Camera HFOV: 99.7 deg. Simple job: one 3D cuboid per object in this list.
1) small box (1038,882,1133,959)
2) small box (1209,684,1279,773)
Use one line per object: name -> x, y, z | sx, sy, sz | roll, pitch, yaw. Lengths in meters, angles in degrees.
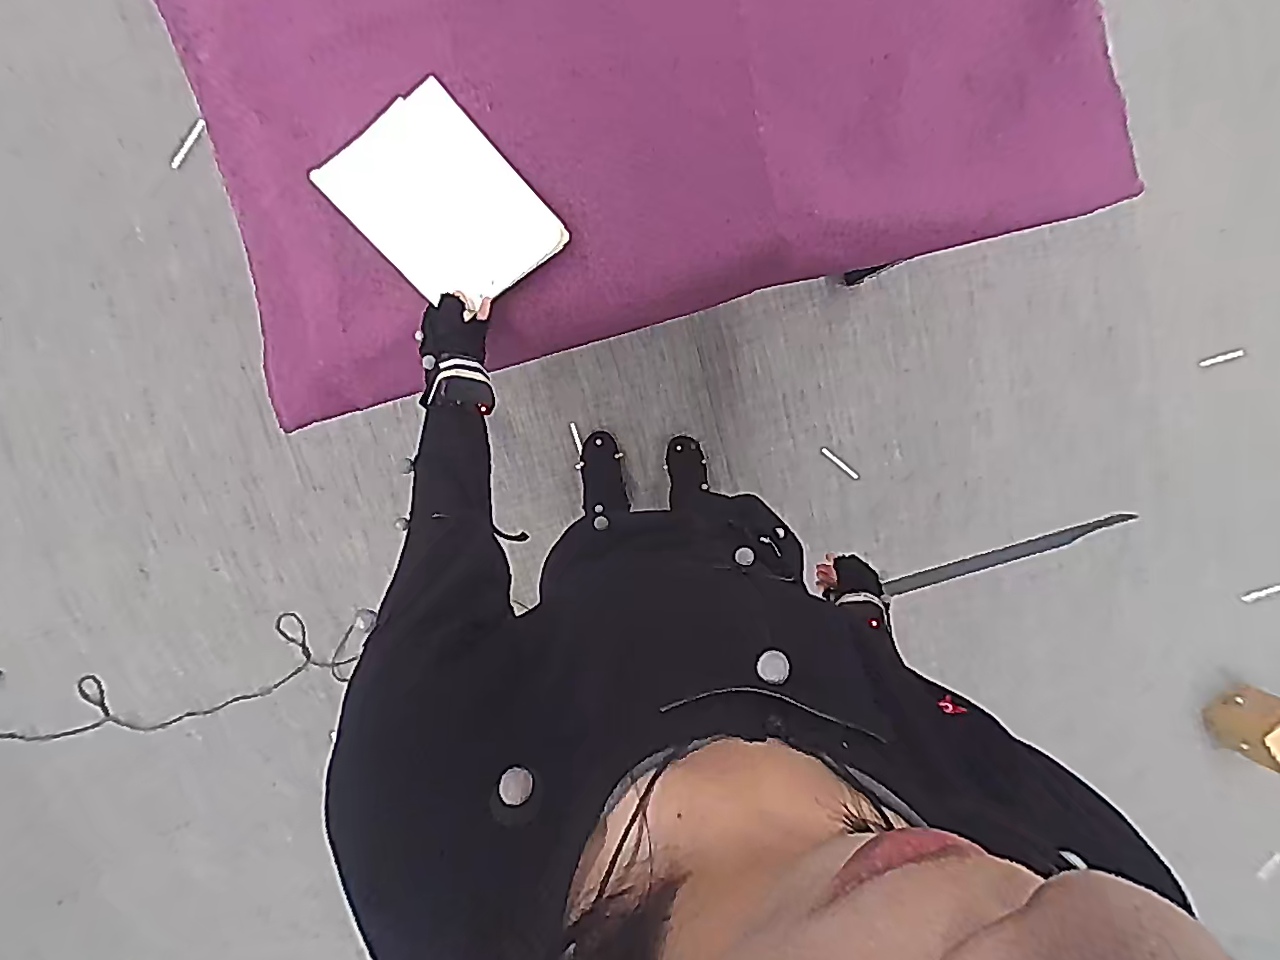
small box -> 1.424, 1.441, 1.738 | 0.179, 0.176, 0.168 | -4, 98, -7
small box -> 2.011, 0.795, 1.733 | 0.168, 0.176, 0.179 | -38, 98, -2
